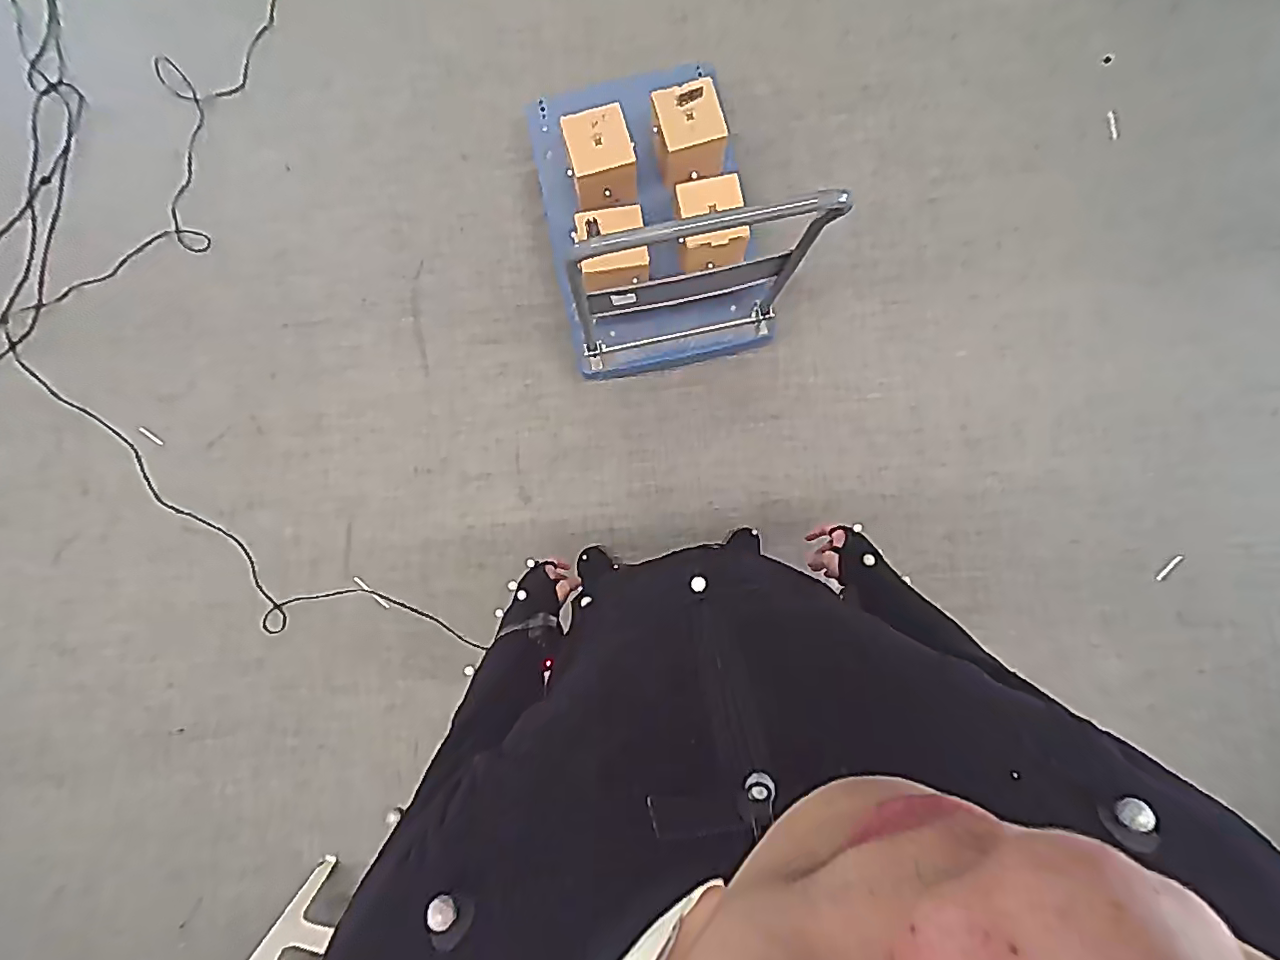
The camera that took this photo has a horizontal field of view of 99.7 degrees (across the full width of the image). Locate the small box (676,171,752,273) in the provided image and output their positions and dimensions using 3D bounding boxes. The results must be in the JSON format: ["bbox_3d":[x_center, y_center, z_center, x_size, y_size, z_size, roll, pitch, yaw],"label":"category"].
[{"bbox_3d":[0.195,-0.700,1.481,0.168,0.176,0.179,-11,85,0],"label":"small box"}]

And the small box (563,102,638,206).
[{"bbox_3d":[-0.103,-0.894,1.505,0.168,0.176,0.179,-16,85,-1],"label":"small box"}]

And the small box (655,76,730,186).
[{"bbox_3d":[0.138,-0.964,1.505,0.168,0.176,0.179,-15,86,1],"label":"small box"}]
